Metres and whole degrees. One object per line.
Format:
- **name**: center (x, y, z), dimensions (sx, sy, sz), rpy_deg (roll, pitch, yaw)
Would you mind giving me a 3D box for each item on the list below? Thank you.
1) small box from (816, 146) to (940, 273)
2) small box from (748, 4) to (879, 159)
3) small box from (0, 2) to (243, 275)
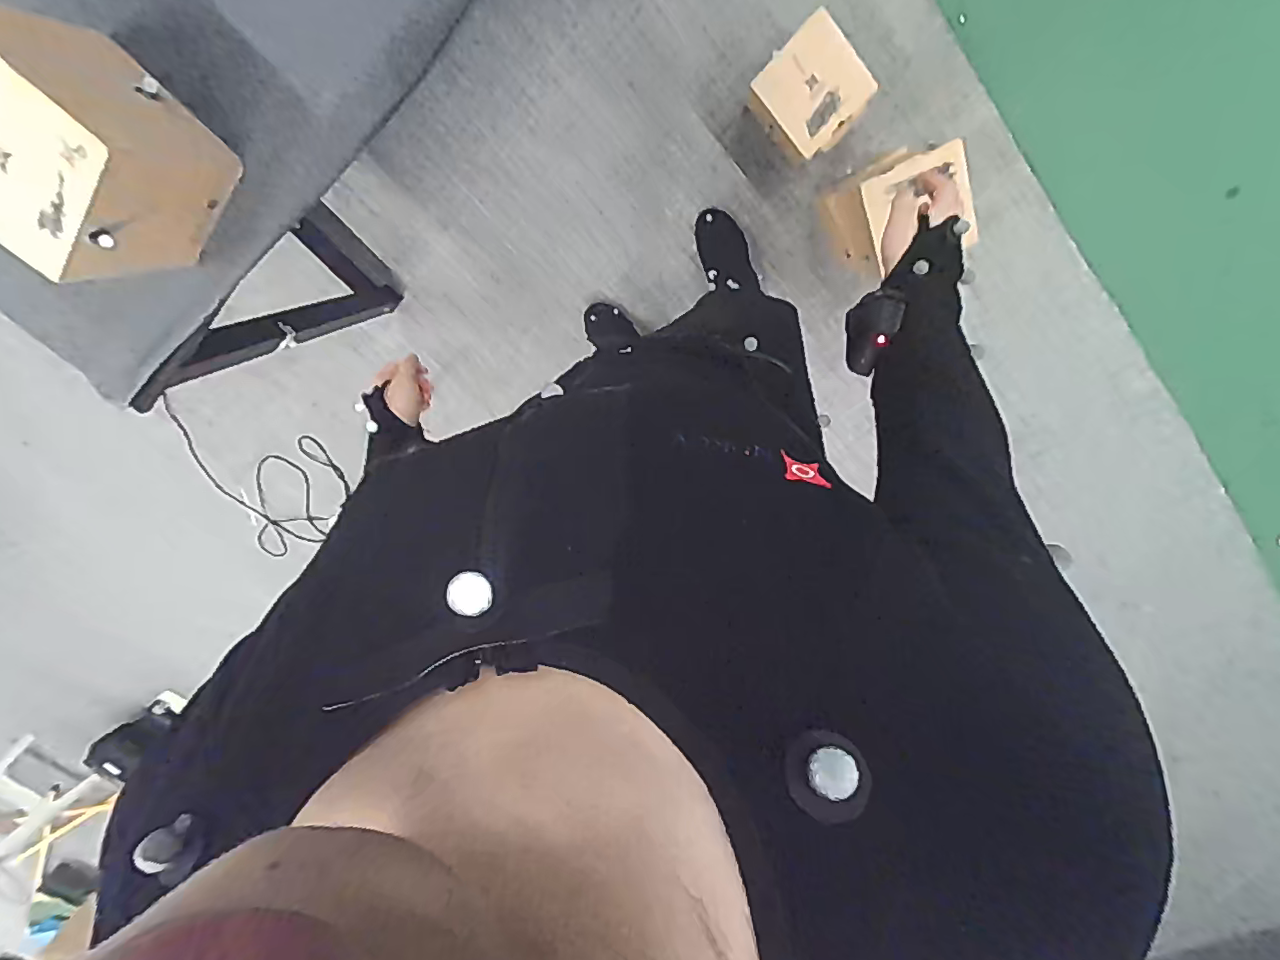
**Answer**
- **small box**: center (0.494, -0.570, 1.142), dimensions (0.168, 0.176, 0.179), rpy_deg (-29, 110, 20)
- **small box**: center (0.331, -0.763, 1.062), dimensions (0.168, 0.176, 0.179), rpy_deg (-39, 106, 22)
- **small box**: center (-0.579, -0.343, 0.563), dimensions (0.168, 0.176, 0.179), rpy_deg (-40, 106, 23)
